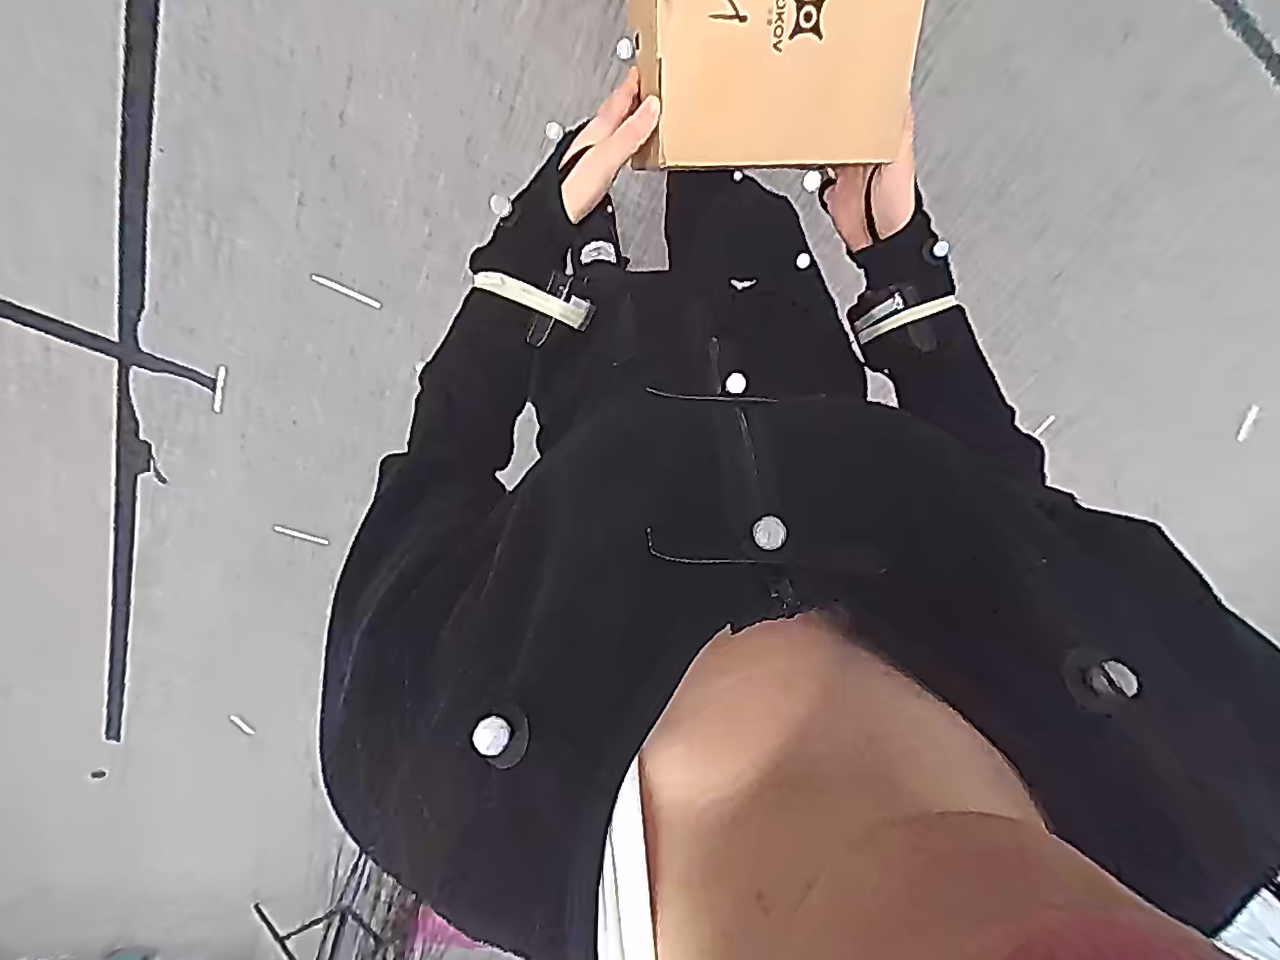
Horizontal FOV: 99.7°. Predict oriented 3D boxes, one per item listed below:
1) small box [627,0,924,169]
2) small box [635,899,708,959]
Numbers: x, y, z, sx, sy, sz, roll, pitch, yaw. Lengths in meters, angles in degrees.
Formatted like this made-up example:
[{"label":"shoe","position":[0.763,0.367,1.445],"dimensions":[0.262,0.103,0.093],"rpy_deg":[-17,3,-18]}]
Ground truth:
[{"label":"small box","position":[0.087,-0.336,0.412],"dimensions":[0.179,0.176,0.168],"rpy_deg":[-5,119,-7]},{"label":"small box","position":[0.098,1.495,1.761],"dimensions":[0.179,0.176,0.168],"rpy_deg":[20,120,-19]}]
